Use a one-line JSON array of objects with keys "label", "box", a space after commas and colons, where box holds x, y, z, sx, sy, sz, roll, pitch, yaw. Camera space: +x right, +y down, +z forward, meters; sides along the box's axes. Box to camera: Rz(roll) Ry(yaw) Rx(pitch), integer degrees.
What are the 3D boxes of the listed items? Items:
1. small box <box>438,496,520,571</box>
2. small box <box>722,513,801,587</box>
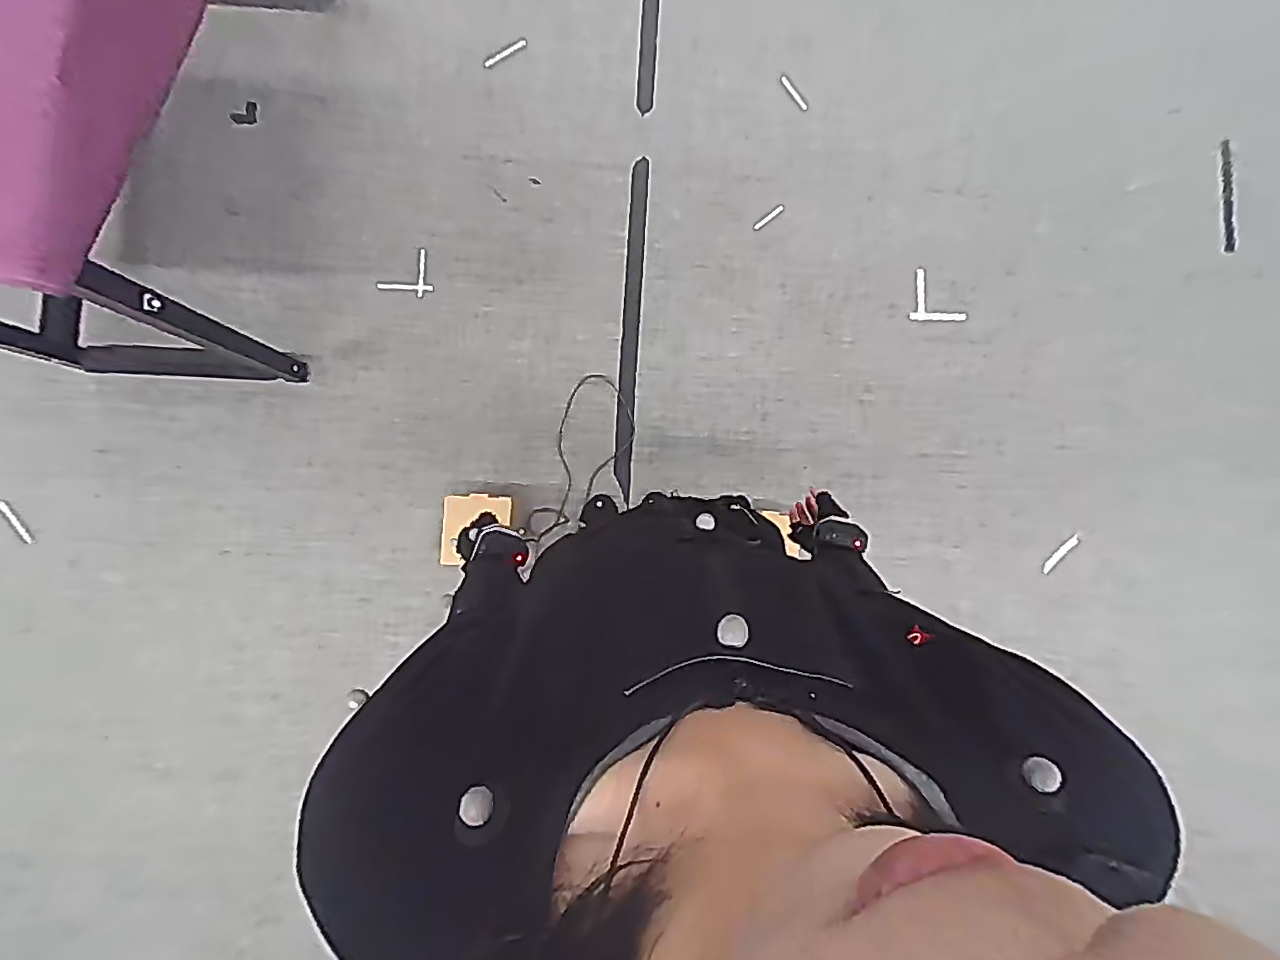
[{"label": "small box", "box": [-0.411, 0.141, 1.407, 0.168, 0.176, 0.179, 3, 84, -3]}, {"label": "small box", "box": [0.321, 0.183, 1.454, 0.168, 0.176, 0.179, 5, 87, -2]}]
